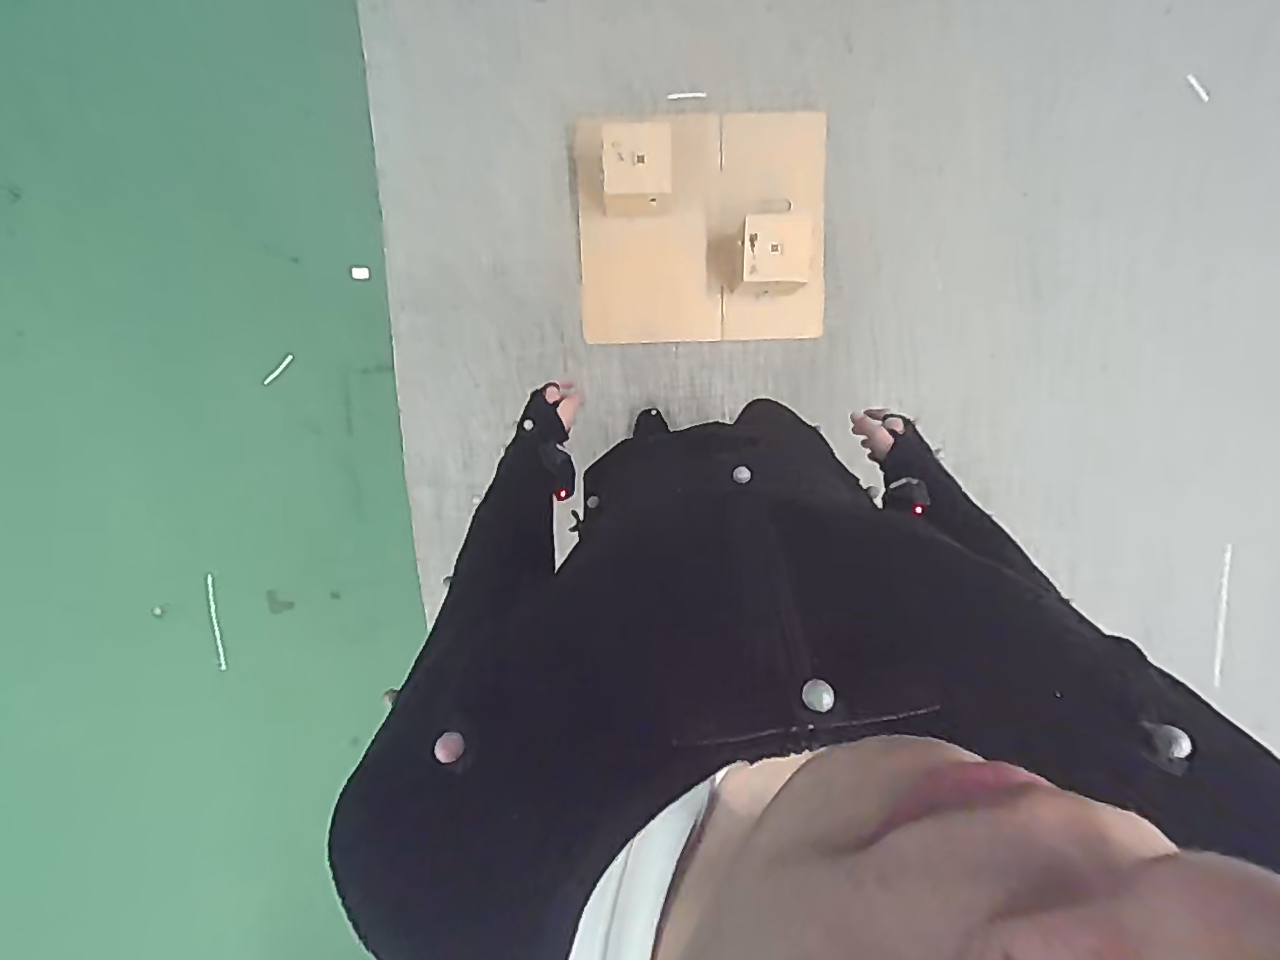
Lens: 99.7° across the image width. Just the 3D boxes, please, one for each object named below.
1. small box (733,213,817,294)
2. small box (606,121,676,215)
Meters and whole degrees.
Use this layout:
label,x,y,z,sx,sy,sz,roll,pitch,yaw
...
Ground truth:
label,x,y,z,sx,sy,sz,roll,pitch,yaw
small box,0.356,-0.601,1.451,0.179,0.176,0.168,1,98,0
small box,0.001,-0.810,1.415,0.179,0.176,0.168,0,98,0
